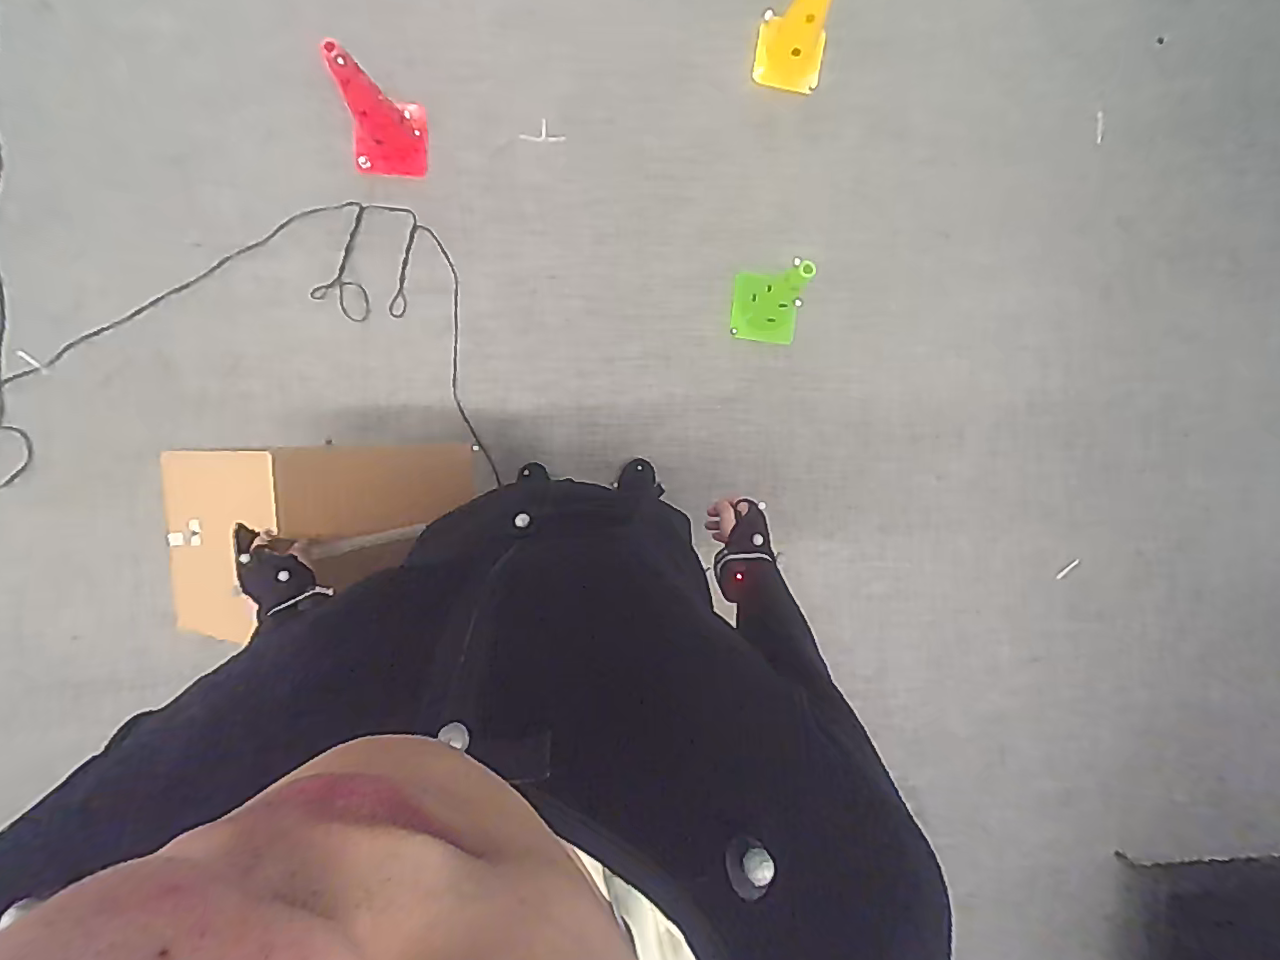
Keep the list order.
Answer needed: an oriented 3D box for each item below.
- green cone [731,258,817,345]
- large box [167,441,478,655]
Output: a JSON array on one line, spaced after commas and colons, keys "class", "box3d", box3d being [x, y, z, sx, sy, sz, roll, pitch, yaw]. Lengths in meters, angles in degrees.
[{"class": "green cone", "box3d": [0.397, -0.515, 1.478, 0.200, 0.368, 0.202, 6, 91, -5]}, {"class": "large box", "box3d": [-0.572, 0.092, 1.034, 0.320, 0.408, 0.320, 2, 97, 25]}]
